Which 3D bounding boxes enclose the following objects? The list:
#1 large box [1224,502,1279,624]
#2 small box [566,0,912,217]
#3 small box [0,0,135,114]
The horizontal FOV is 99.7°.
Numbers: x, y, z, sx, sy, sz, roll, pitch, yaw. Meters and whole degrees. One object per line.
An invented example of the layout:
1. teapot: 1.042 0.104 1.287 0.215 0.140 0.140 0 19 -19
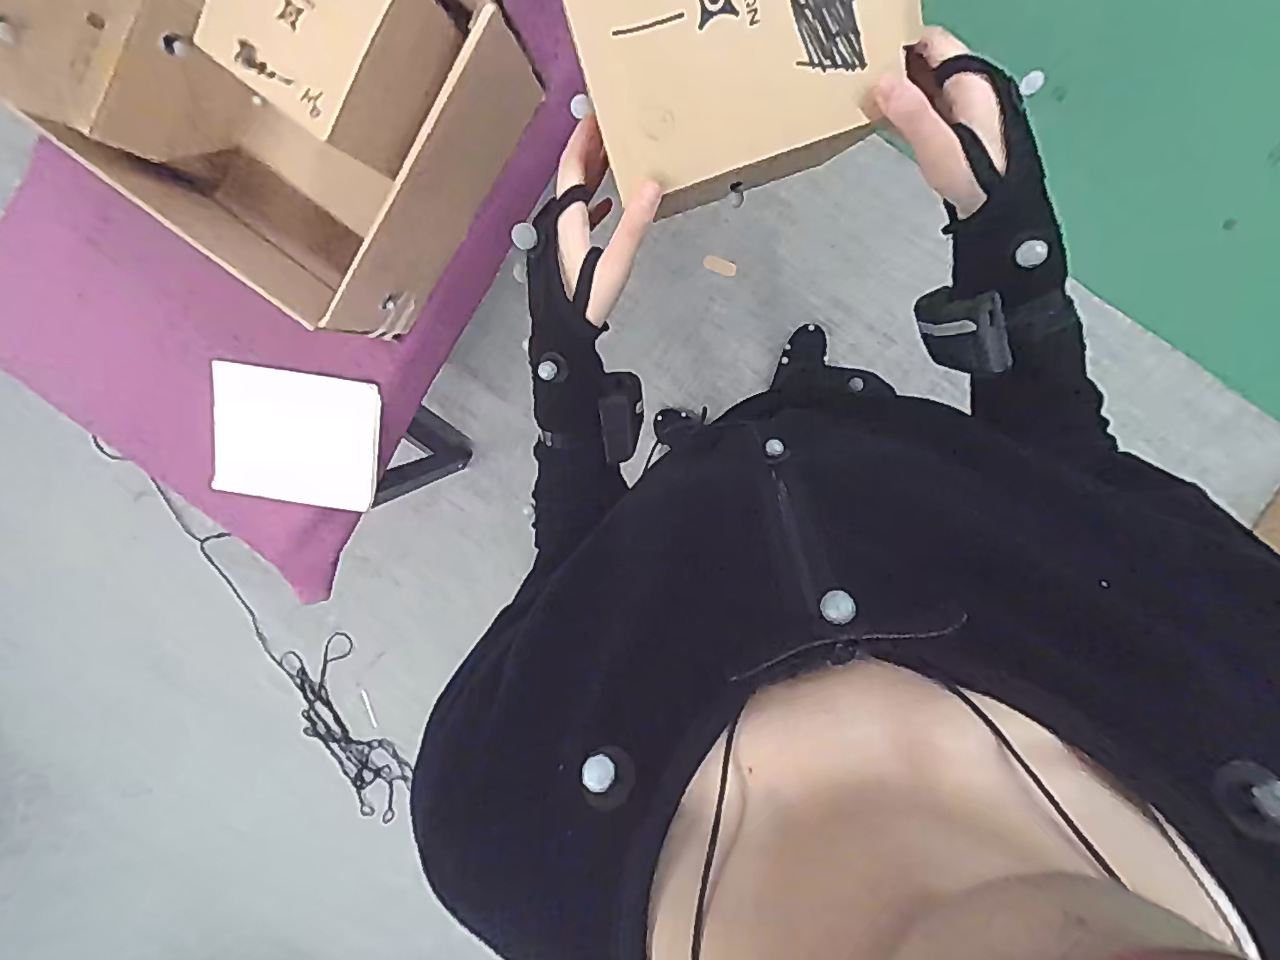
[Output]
1. large box: 1.684 0.198 1.201 0.320 0.320 0.408 21 102 2
2. small box: 0.049 -0.293 0.361 0.179 0.176 0.168 -15 109 7
3. small box: -0.602 -0.458 0.462 0.179 0.176 0.168 38 103 -3
